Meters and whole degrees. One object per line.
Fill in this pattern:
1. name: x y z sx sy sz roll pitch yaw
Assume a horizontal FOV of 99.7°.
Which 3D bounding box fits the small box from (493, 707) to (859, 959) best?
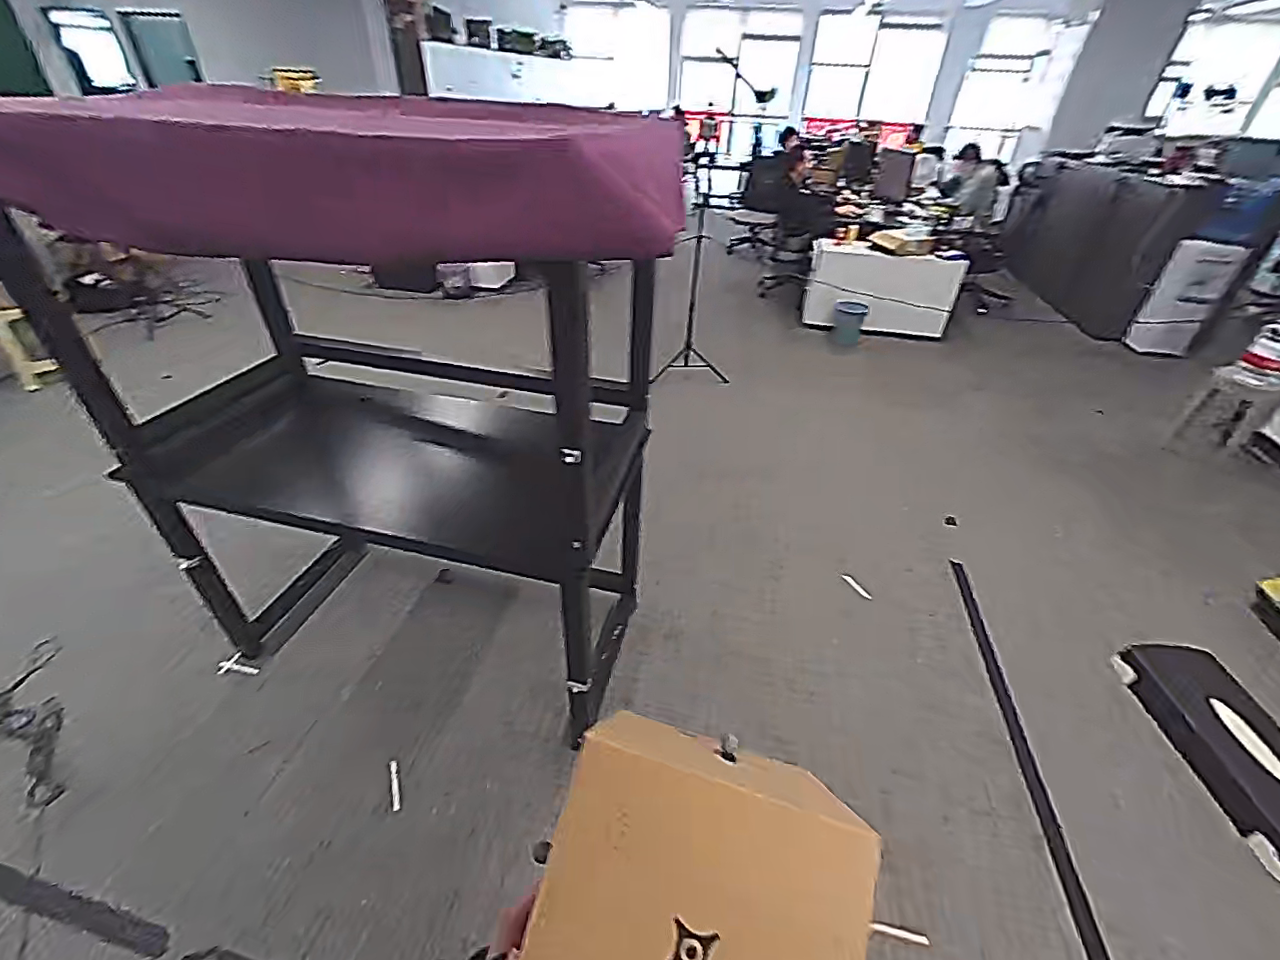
1. small box: 0.017 0.257 0.341 0.168 0.176 0.179 14 74 9
